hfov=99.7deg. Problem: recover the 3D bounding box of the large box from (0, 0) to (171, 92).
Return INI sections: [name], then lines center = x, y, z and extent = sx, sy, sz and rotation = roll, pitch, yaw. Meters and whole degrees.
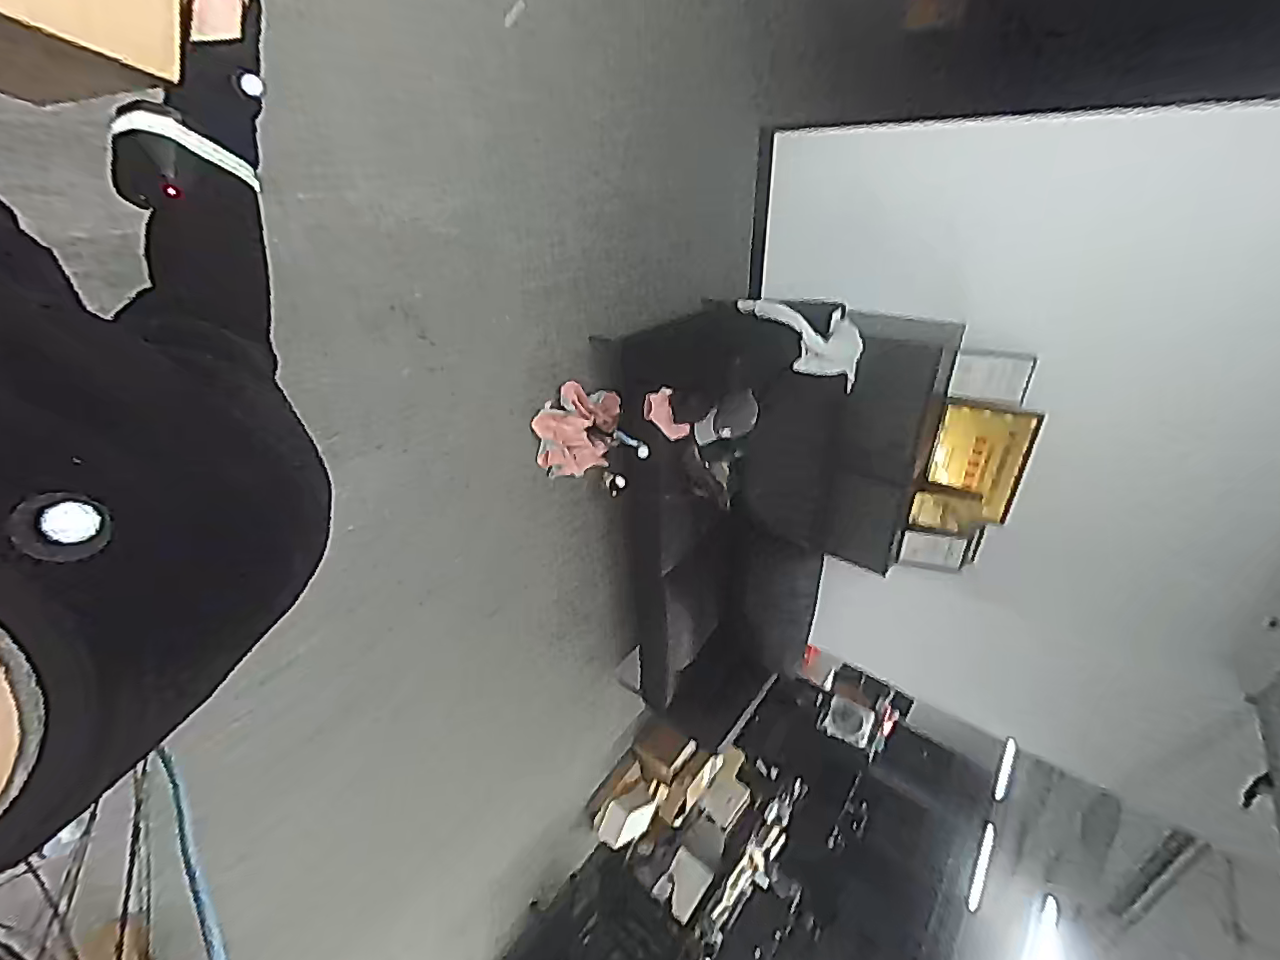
[large box]
center = -0.562, -0.462, 0.279
extent = 0.408, 0.320, 0.320
rotation = -15, 118, -57
